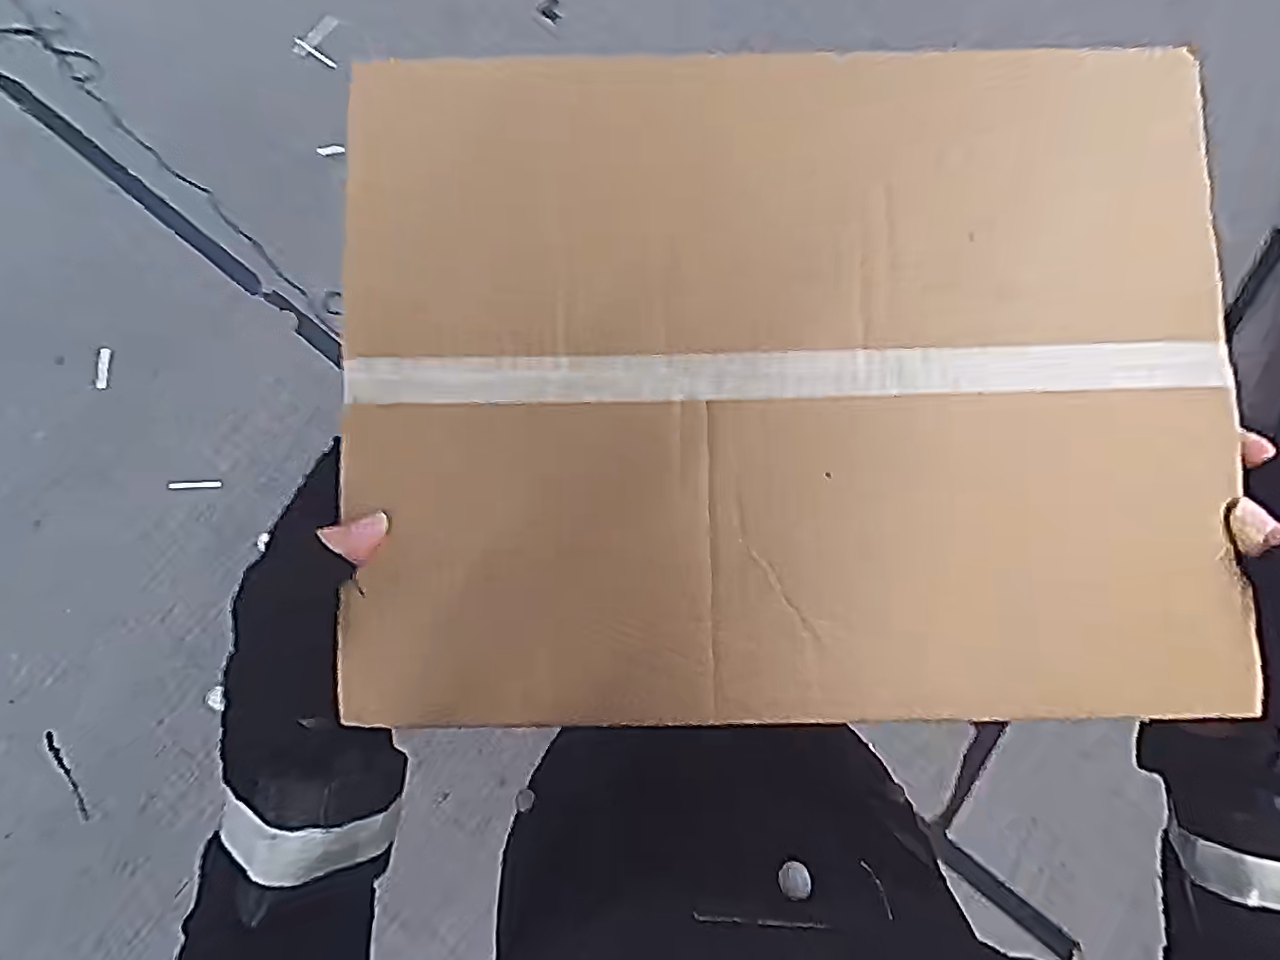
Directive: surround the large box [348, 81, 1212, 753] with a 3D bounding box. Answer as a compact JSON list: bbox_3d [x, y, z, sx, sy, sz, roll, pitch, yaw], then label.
[{"bbox_3d":[0.063,-0.026,0.406,0.408,0.320,0.320,-2,85,0],"label":"large box"}]
